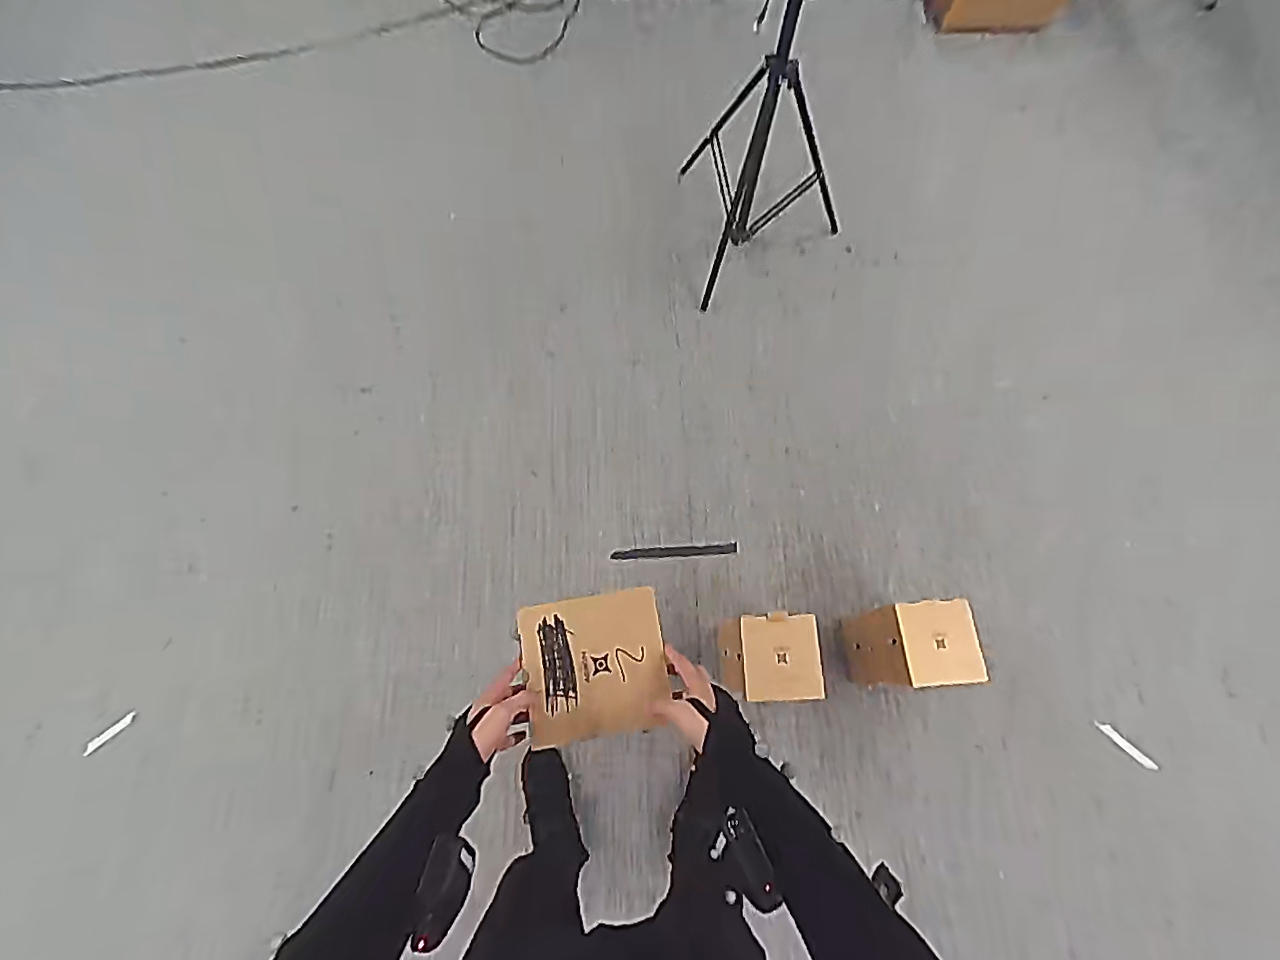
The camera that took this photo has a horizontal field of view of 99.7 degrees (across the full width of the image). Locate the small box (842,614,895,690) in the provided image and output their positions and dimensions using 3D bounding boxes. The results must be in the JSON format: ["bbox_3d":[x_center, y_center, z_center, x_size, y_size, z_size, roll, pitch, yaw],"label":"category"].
[{"bbox_3d":[0.636,0.432,1.375,0.168,0.176,0.179,-4,70,-2],"label":"small box"}]

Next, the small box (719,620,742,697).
[{"bbox_3d":[0.296,0.451,1.362,0.168,0.176,0.179,-1,71,-1],"label":"small box"}]

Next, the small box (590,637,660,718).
[{"bbox_3d":[-0.039,0.491,1.346,0.168,0.176,0.179,-3,70,-1],"label":"small box"}]

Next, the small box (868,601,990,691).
[{"bbox_3d":[0.641,0.377,1.222,0.168,0.176,0.179,-4,70,-2],"label":"small box"}]

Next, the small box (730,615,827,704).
[{"bbox_3d":[0.299,0.402,1.206,0.168,0.176,0.179,-1,70,-1],"label":"small box"}]
